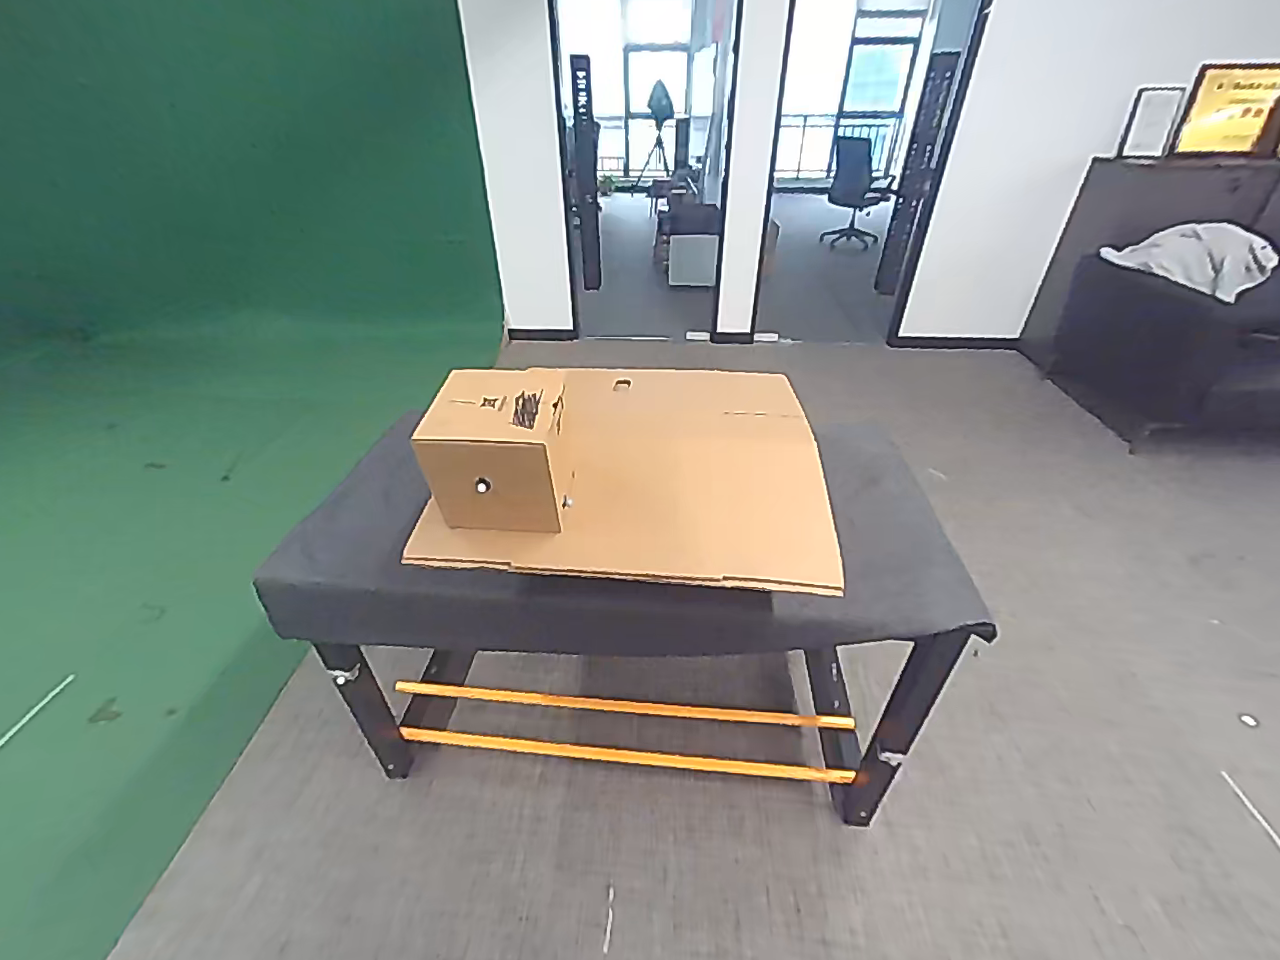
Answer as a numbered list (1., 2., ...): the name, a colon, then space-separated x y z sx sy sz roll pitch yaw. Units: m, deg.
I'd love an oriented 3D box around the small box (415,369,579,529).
1. small box: -0.191 -0.044 0.789 0.179 0.176 0.168 2 43 5
